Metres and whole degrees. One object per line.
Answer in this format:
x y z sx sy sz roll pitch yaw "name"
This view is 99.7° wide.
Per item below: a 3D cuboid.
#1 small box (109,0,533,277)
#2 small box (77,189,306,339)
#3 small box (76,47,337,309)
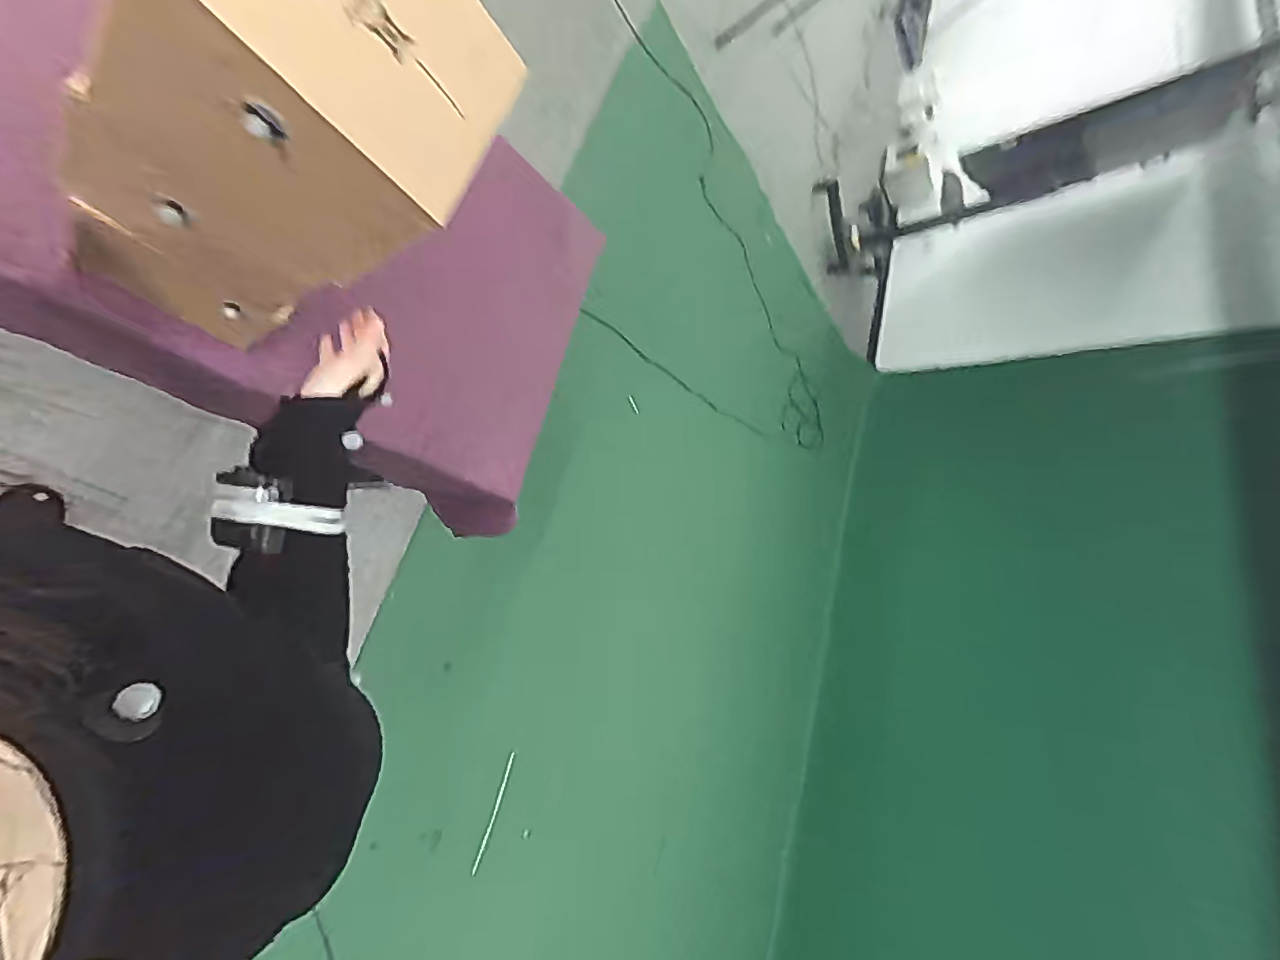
-0.215 -0.273 0.378 0.179 0.176 0.168 38 62 -43 "small box"
-0.463 -0.276 0.594 0.179 0.176 0.168 33 66 -44 "small box"
-0.344 -0.279 0.480 0.179 0.176 0.168 38 63 -42 "small box"
